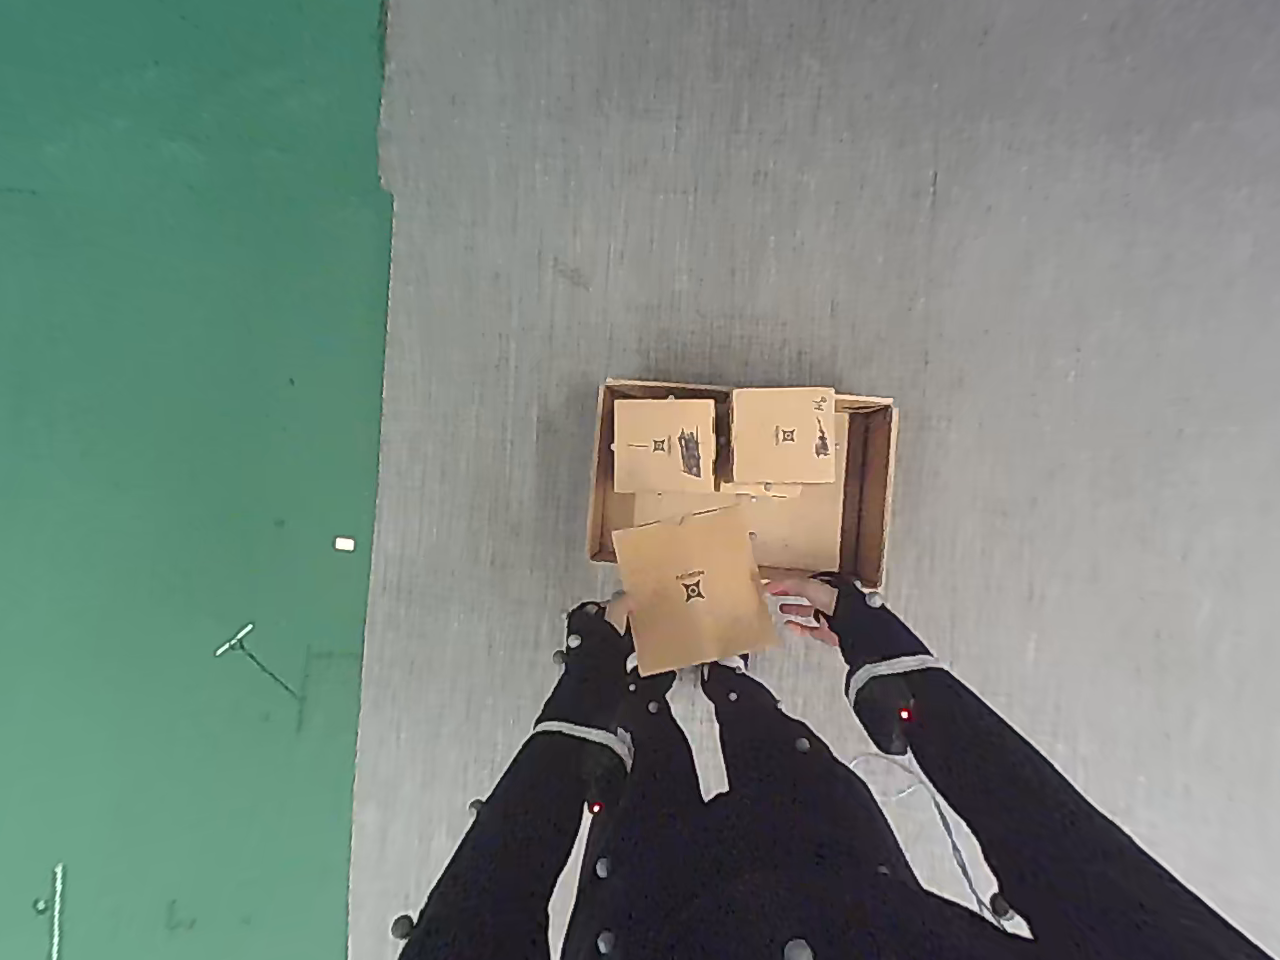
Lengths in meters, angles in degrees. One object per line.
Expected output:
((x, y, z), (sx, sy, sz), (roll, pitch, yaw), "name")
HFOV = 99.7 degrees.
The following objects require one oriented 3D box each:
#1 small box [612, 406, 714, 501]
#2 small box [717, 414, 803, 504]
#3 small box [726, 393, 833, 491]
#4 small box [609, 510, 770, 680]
((0.044, -0.048, 1.016), (0.179, 0.176, 0.168), (0, 90, 5), "small box")
((0.257, -0.043, 1.163), (0.168, 0.176, 0.179), (4, 90, 7), "small box")
((0.250, -0.064, 0.999), (0.179, 0.176, 0.168), (0, 89, 7), "small box")
((0.060, 0.153, 0.719), (0.168, 0.176, 0.179), (-12, 74, -1), "small box")
